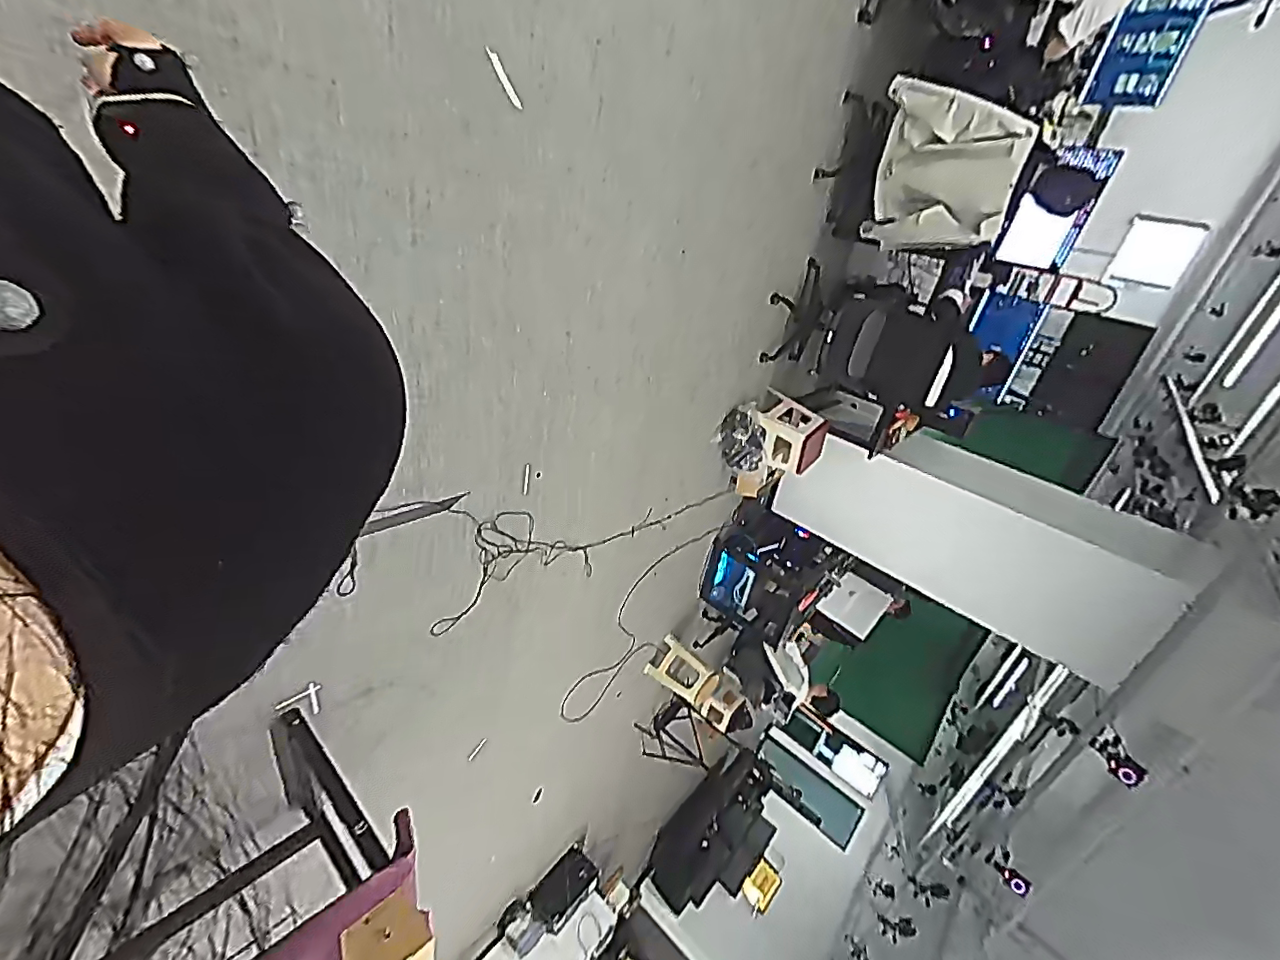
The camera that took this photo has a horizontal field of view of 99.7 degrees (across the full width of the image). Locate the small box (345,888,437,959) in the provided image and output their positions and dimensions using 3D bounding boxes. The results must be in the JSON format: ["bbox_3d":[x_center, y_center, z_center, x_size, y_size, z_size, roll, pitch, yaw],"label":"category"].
[{"bbox_3d":[-0.650,1.221,1.410,0.168,0.176,0.179,-20,131,-46],"label":"small box"}]
